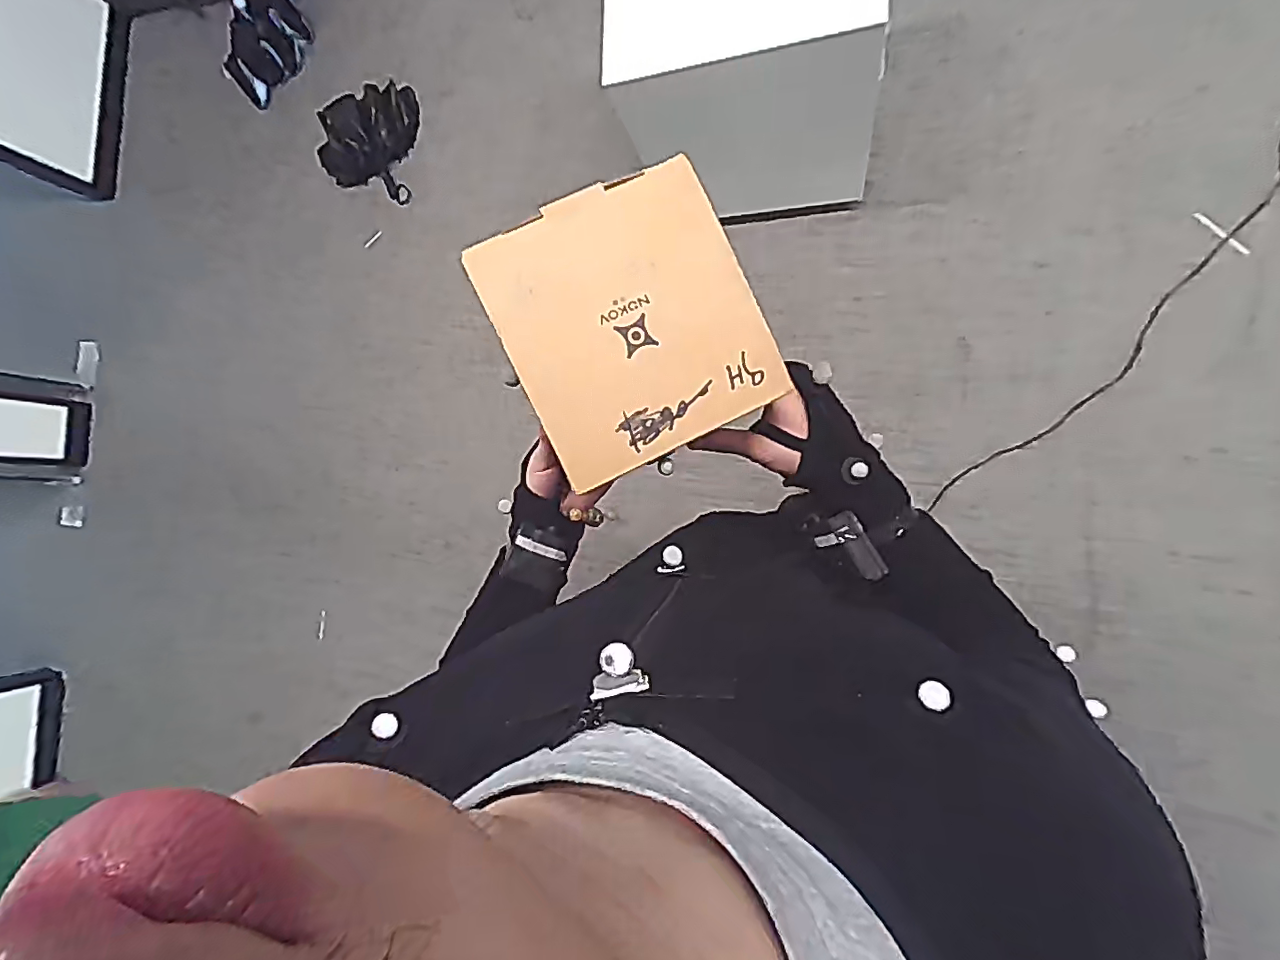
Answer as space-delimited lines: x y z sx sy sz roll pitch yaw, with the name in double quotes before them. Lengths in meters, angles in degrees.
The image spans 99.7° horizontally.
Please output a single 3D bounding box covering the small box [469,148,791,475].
"small box" -0.013 -0.112 0.435 0.168 0.176 0.179 -25 94 -4
